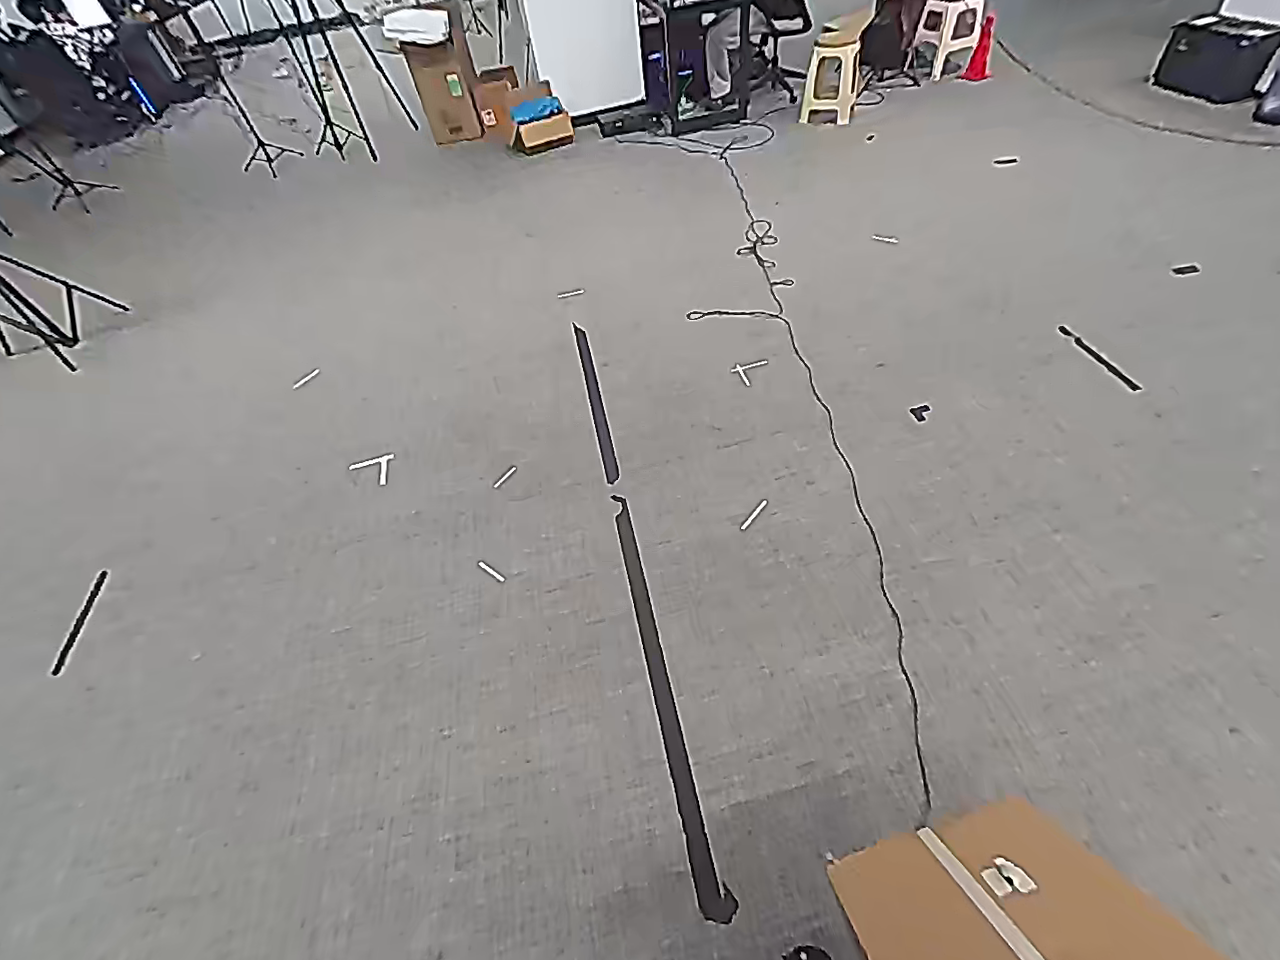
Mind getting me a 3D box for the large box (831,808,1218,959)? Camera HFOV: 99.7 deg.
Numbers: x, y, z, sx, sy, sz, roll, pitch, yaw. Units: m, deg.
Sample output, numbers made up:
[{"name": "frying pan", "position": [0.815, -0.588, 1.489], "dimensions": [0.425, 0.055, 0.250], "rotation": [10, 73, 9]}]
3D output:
[{"name": "large box", "position": [0.477, 0.670, 0.607], "dimensions": [0.320, 0.408, 0.320], "rotation": [-19, 85, 0]}]
